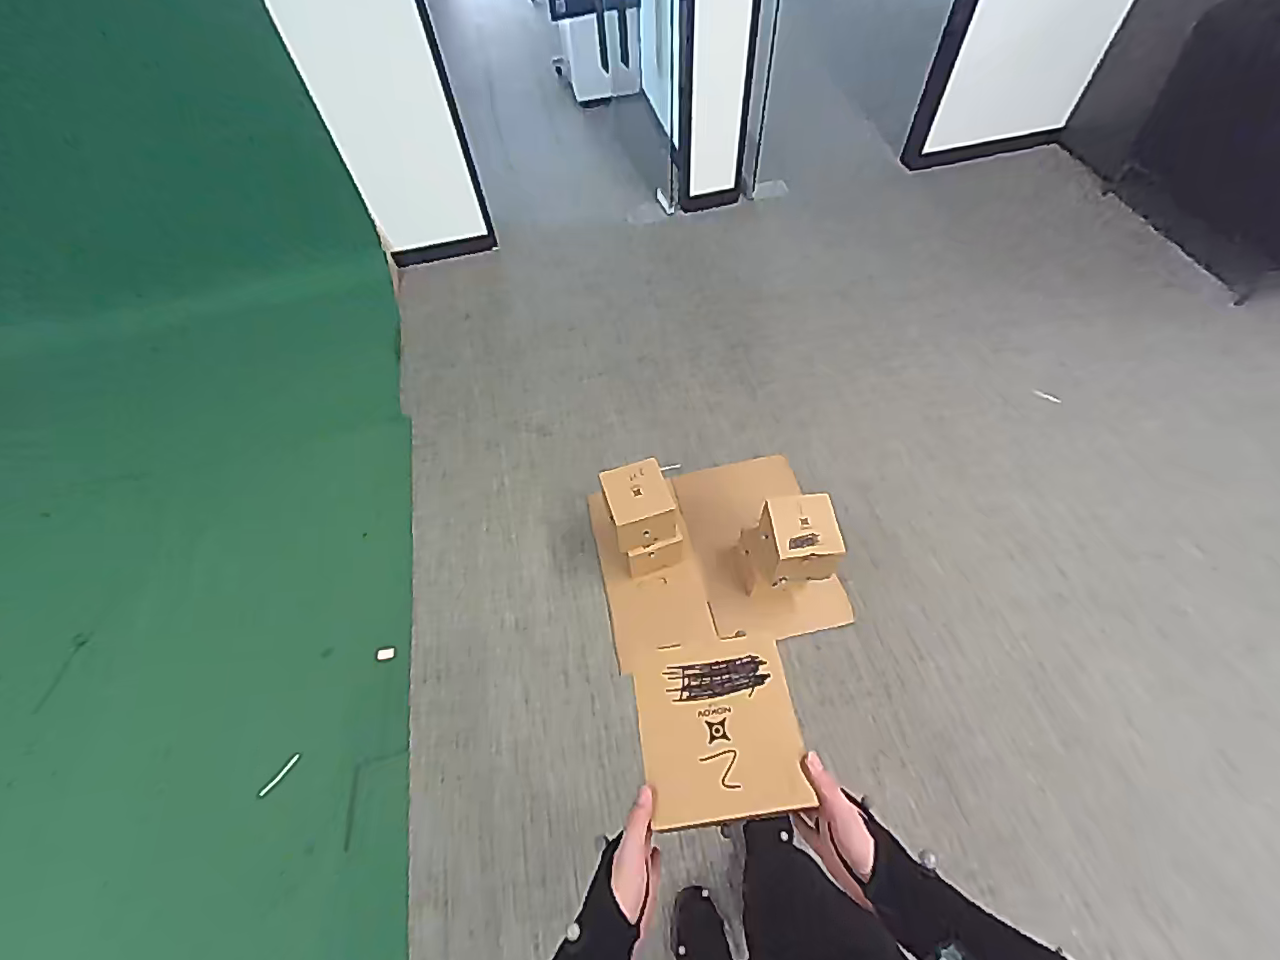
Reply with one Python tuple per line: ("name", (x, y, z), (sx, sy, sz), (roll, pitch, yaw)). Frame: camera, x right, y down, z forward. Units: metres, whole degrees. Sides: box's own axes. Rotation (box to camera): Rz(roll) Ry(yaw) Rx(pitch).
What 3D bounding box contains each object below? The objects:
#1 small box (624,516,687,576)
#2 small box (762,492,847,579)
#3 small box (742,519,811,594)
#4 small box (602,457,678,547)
("small box", (0.033, 0.164, 1.636), (0.168, 0.176, 0.179), (-18, 58, -7))
("small box", (0.424, 0.152, 1.422), (0.168, 0.176, 0.179), (-4, 56, 1))
("small box", (0.400, 0.222, 1.574), (0.168, 0.176, 0.179), (-8, 58, -1))
("small box", (0.002, 0.069, 1.503), (0.168, 0.176, 0.179), (-16, 58, -8))
